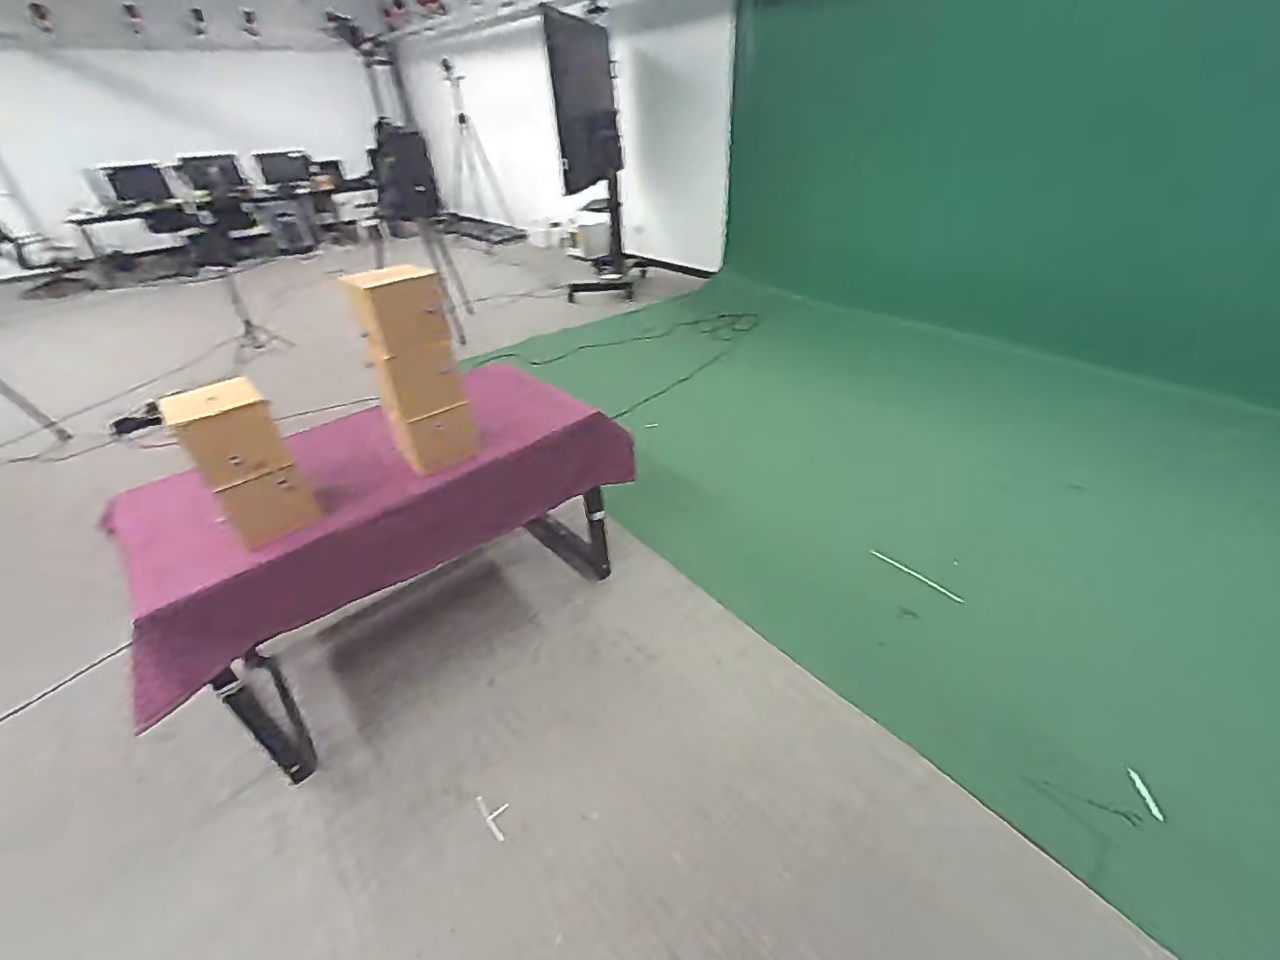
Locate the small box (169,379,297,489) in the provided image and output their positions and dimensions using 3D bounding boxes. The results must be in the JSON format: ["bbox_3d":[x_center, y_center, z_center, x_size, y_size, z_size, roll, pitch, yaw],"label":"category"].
[{"bbox_3d":[-0.905,-0.104,1.208,0.168,0.176,0.179,-29,43,-33],"label":"small box"}]

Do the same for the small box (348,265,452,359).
[{"bbox_3d":[-0.587,-0.420,1.345,0.179,0.176,0.168,-29,42,-32],"label":"small box"}]

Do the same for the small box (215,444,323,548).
[{"bbox_3d":[-0.891,0.031,1.299,0.179,0.176,0.168,-29,42,-33],"label":"small box"}]

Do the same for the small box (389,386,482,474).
[{"bbox_3d":[-0.569,-0.140,1.515,0.179,0.176,0.168,-27,41,-31],"label":"small box"}]
